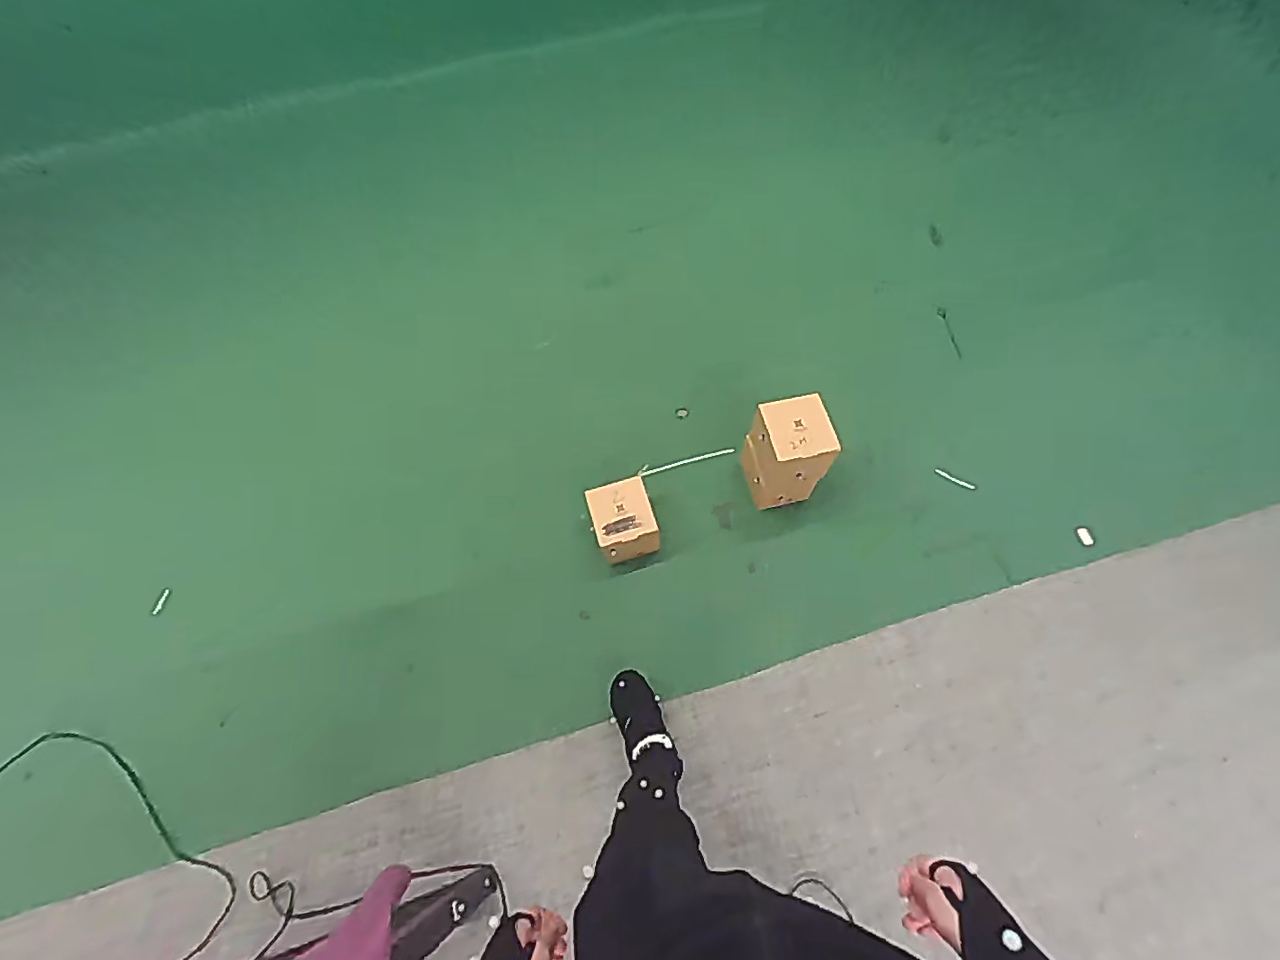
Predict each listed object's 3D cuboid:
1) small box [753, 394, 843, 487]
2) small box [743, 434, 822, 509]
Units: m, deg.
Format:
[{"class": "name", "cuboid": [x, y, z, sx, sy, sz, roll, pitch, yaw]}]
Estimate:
[{"class": "small box", "cuboid": [0.412, -0.102, 1.449, 0.168, 0.176, 0.179, -11, 66, -3]}, {"class": "small box", "cuboid": [0.413, -0.037, 1.599, 0.168, 0.176, 0.179, -13, 66, -4]}]
